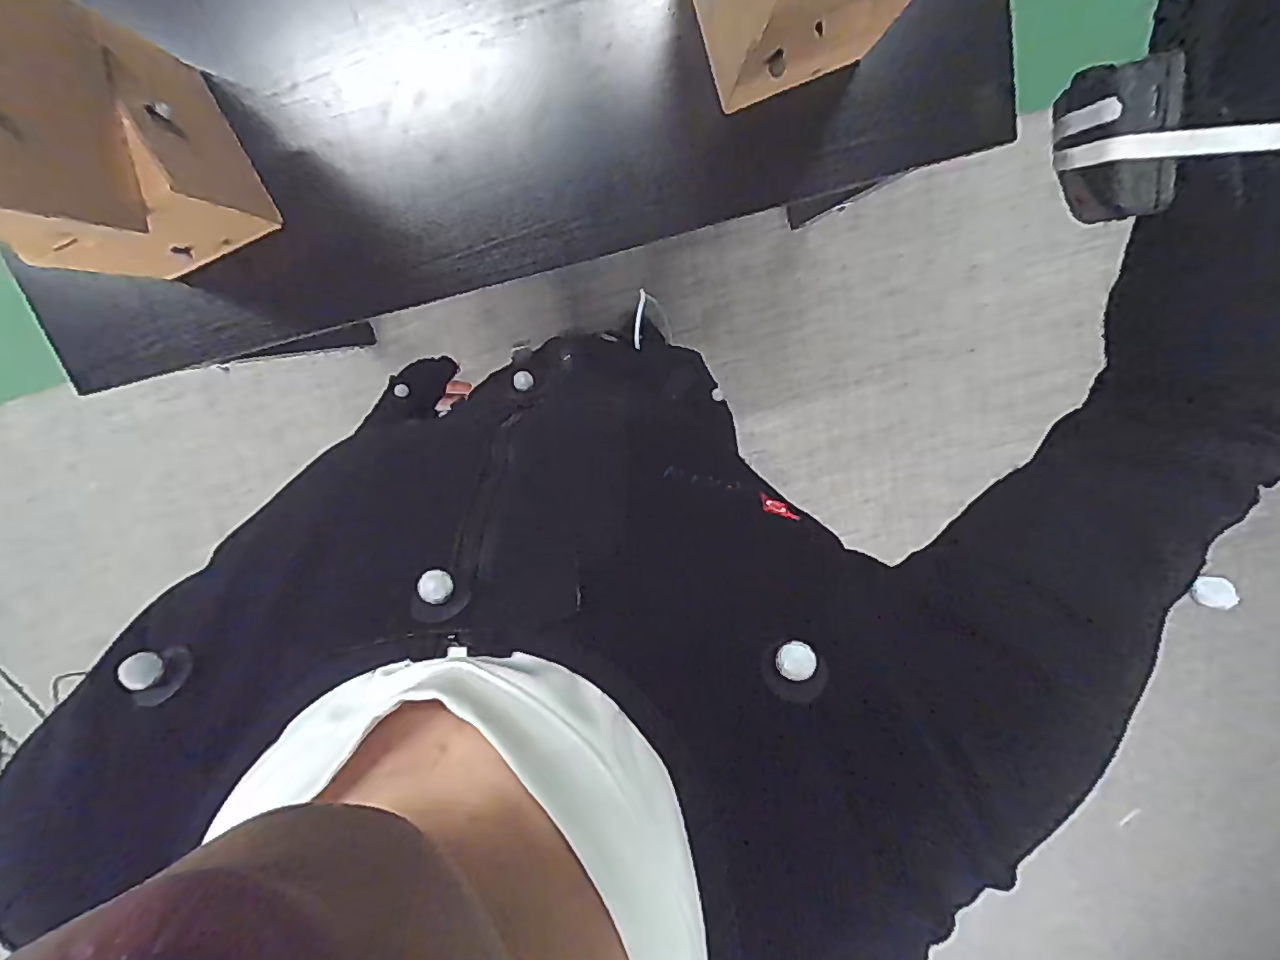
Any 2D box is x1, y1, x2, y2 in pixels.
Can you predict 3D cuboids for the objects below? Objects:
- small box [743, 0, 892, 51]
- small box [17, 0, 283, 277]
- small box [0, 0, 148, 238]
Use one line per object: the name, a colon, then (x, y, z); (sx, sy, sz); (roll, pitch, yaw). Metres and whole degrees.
small box: (0.147, -0.449, 0.362); (0.168, 0.176, 0.179); (-21, 105, 6)
small box: (-0.527, -0.329, 0.558); (0.168, 0.176, 0.179); (-22, 107, 5)
small box: (-0.527, -0.281, 0.401); (0.168, 0.176, 0.179); (-2, 106, -1)
